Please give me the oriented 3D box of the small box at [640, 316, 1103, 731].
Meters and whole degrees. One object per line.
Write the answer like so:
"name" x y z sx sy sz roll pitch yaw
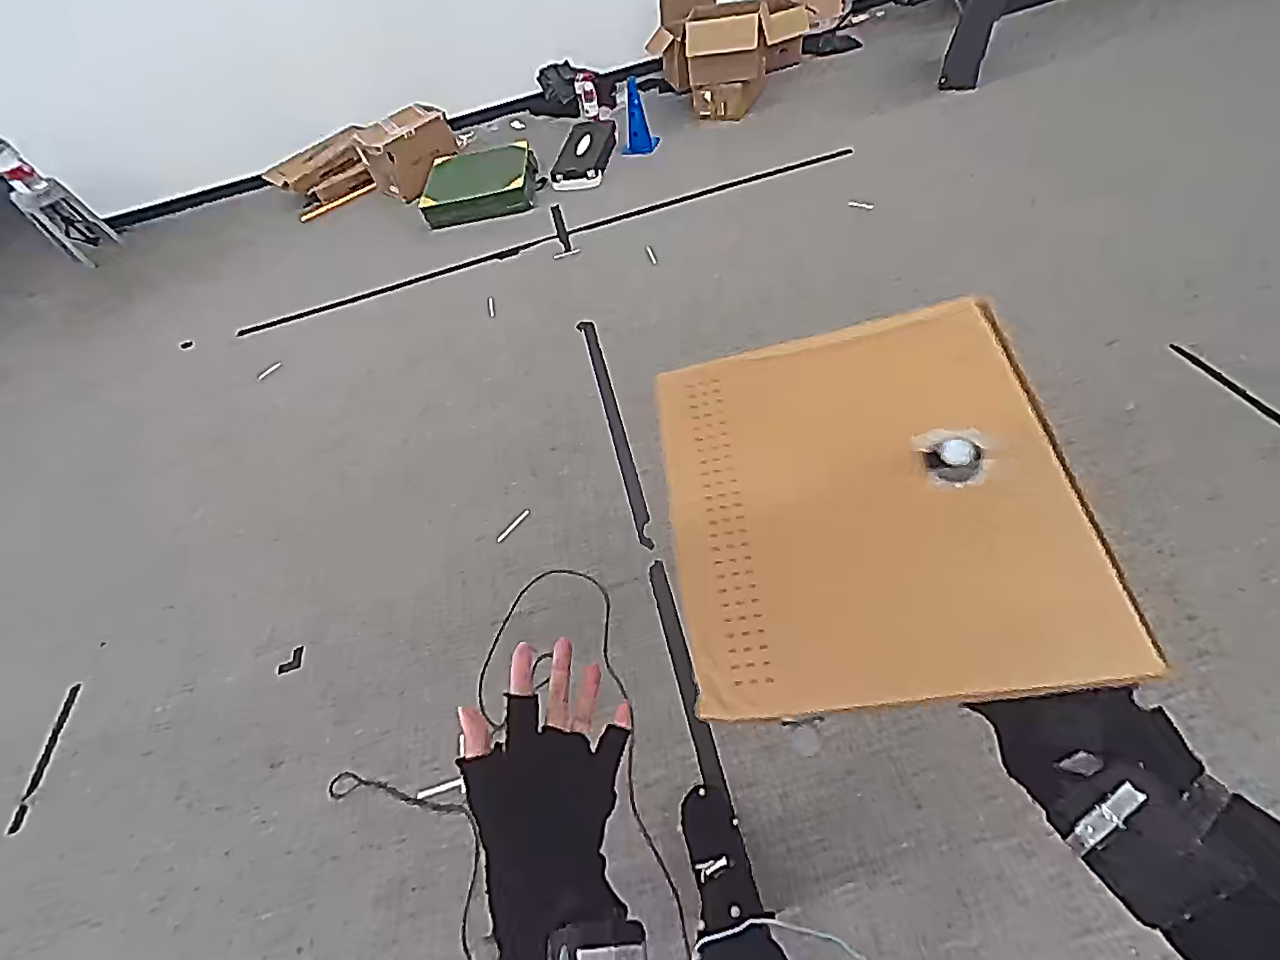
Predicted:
"small box" 0.104 0.042 0.319 0.176 0.168 0.179 -14 63 14
